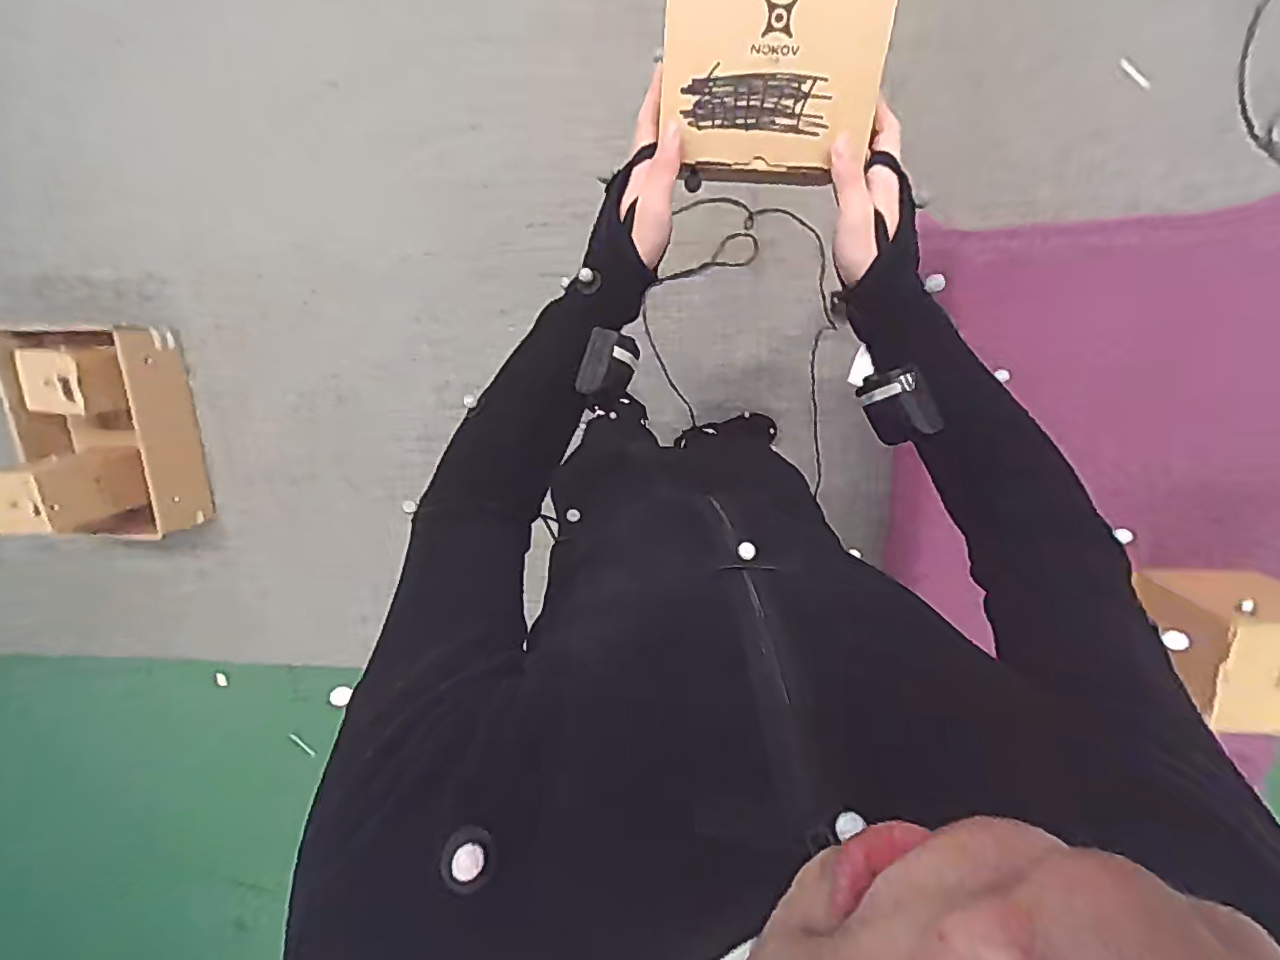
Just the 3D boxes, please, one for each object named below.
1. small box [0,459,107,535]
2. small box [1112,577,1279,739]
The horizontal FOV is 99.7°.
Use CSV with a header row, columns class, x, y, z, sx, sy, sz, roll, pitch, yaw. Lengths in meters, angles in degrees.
class,x,y,z,sx,sy,sz,roll,pitch,yaw
small box,-1.612,0.042,1.454,0.179,0.176,0.168,-1,105,5
small box,0.860,0.251,0.793,0.179,0.176,0.168,0,105,5
